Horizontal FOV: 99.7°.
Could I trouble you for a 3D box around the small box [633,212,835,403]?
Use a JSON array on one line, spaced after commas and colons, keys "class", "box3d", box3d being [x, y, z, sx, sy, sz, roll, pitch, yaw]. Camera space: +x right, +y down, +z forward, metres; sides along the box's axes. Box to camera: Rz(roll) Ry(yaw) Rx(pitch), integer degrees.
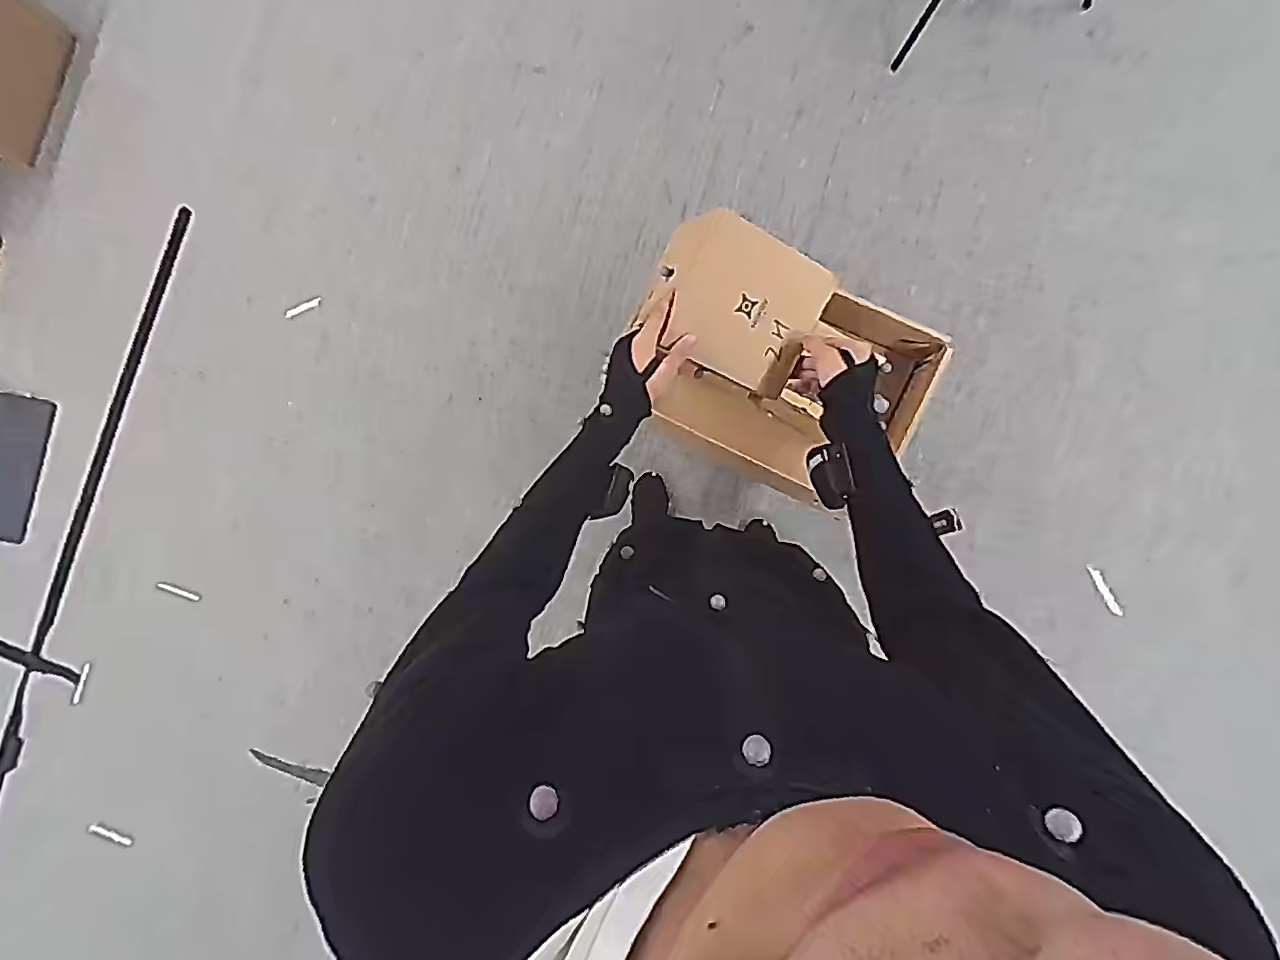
[{"class": "small box", "box3d": [0.109, -0.220, 0.712, 0.179, 0.176, 0.168, 21, 103, -20]}]
